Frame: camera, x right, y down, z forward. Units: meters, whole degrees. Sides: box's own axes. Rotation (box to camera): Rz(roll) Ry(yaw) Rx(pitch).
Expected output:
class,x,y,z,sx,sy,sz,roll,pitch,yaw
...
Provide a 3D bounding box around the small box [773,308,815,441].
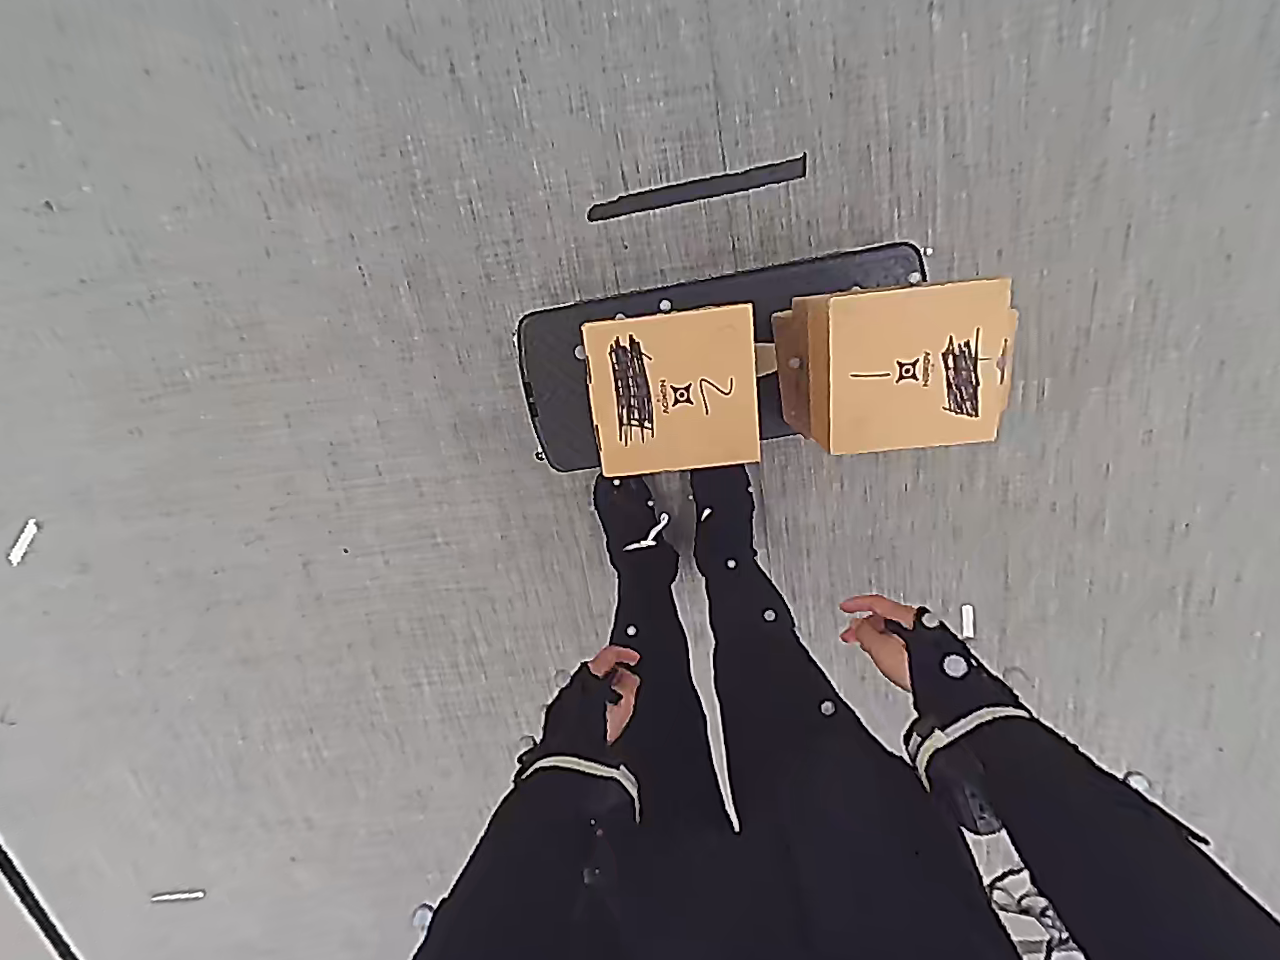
class,x,y,z,sx,sy,sz,roll,pitch,yaw
small box,0.298,-0.171,0.788,0.168,0.176,0.179,-11,107,5

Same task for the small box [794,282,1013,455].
class,x,y,z,sx,sy,sz,roll,pitch,yaw
small box,0.286,-0.135,0.627,0.179,0.176,0.168,-5,107,5
